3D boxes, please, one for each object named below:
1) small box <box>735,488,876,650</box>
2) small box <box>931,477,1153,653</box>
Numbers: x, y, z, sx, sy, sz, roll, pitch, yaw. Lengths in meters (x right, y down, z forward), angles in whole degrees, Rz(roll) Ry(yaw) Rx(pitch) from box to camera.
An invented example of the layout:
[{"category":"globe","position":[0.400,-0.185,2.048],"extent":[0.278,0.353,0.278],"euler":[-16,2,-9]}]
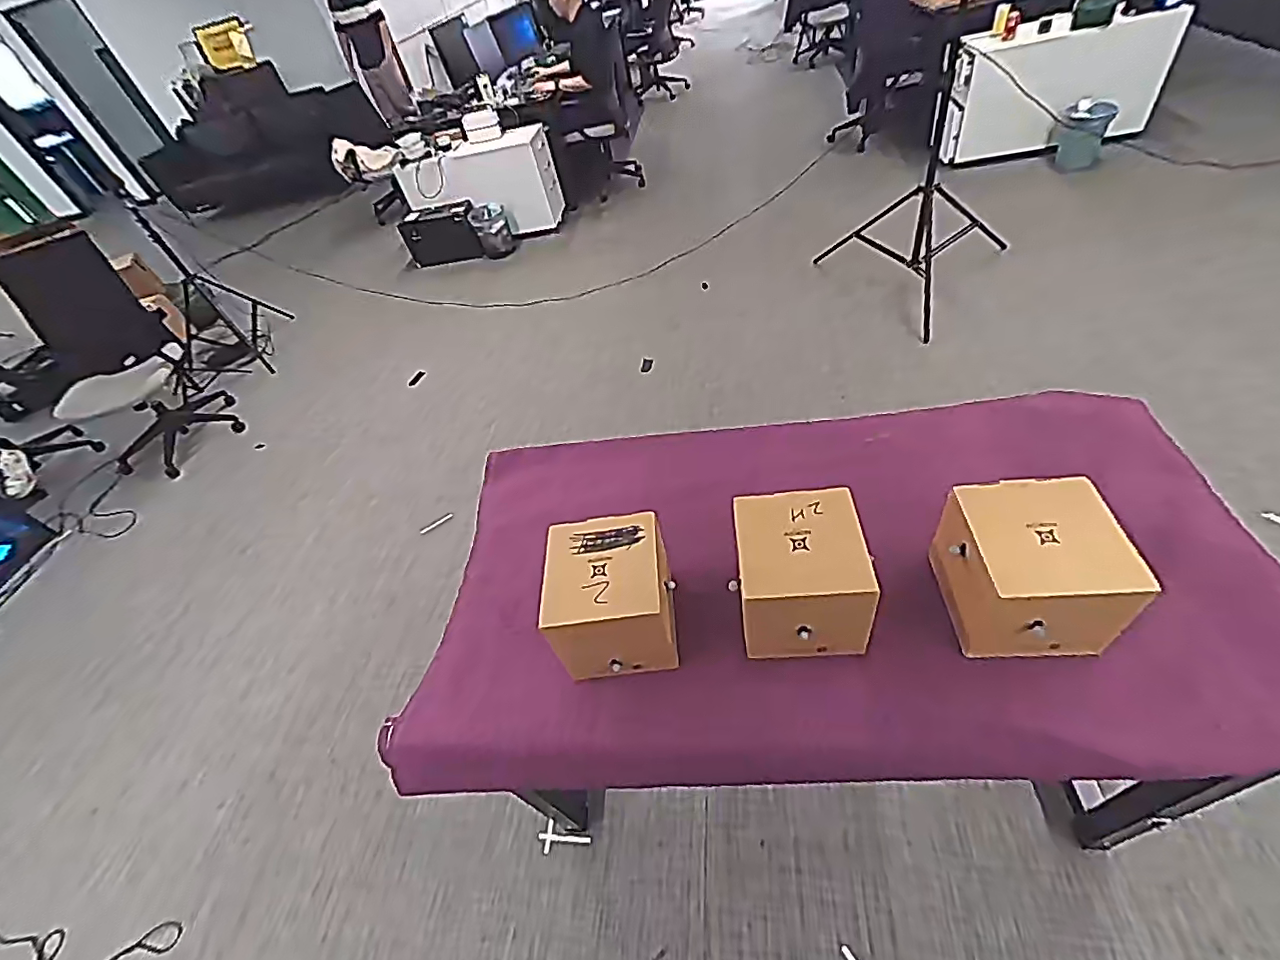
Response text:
[{"category":"small box","position":[0.230,0.136,0.786],"extent":[0.168,0.176,0.179],"euler":[-5,45,9]},{"category":"small box","position":[0.515,0.121,0.727],"extent":[0.168,0.176,0.179],"euler":[-5,47,11]}]
